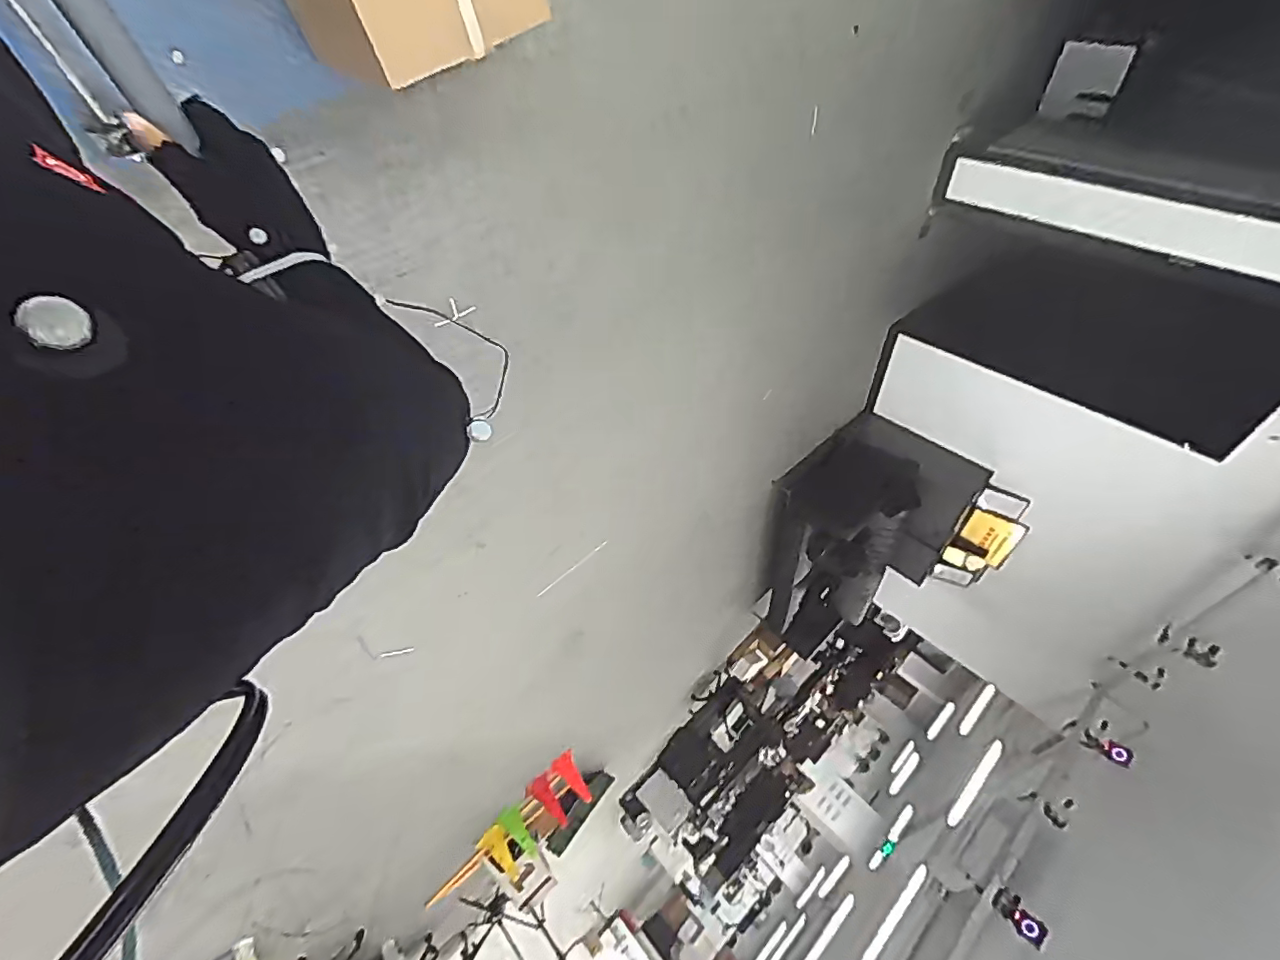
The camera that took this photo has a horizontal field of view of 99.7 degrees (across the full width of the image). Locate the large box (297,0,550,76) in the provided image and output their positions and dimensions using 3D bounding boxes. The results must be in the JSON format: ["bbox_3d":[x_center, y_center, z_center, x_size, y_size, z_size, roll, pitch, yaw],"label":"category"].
[{"bbox_3d":[-0.393,-0.891,0.781,0.320,0.320,0.408,-41,146,-18],"label":"large box"}]
